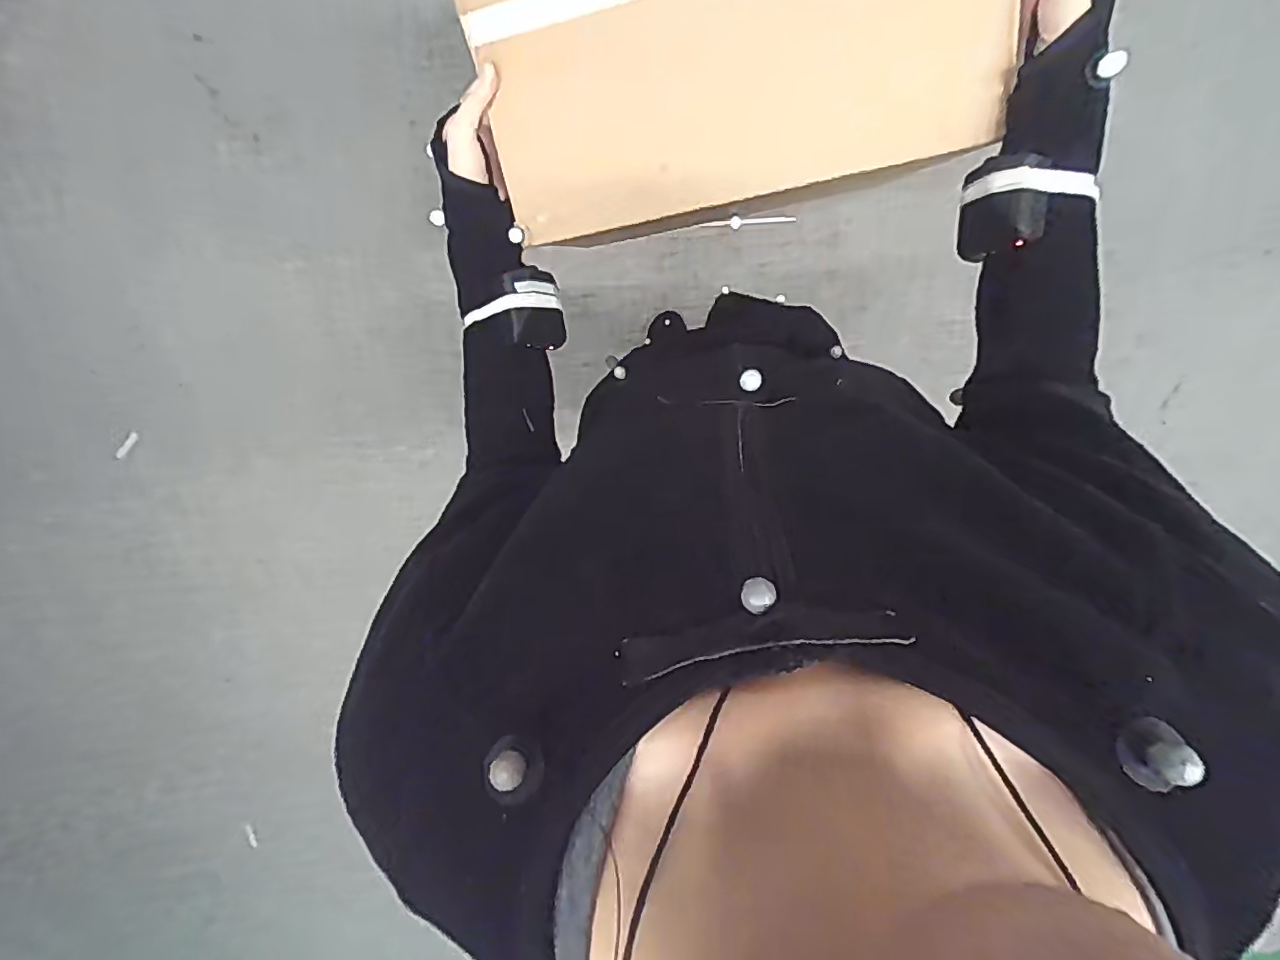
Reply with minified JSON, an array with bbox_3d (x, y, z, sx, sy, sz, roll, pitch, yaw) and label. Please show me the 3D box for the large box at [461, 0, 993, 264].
[{"bbox_3d":[0.074,-0.430,0.553,0.408,0.320,0.320,-10,110,10],"label":"large box"}]
